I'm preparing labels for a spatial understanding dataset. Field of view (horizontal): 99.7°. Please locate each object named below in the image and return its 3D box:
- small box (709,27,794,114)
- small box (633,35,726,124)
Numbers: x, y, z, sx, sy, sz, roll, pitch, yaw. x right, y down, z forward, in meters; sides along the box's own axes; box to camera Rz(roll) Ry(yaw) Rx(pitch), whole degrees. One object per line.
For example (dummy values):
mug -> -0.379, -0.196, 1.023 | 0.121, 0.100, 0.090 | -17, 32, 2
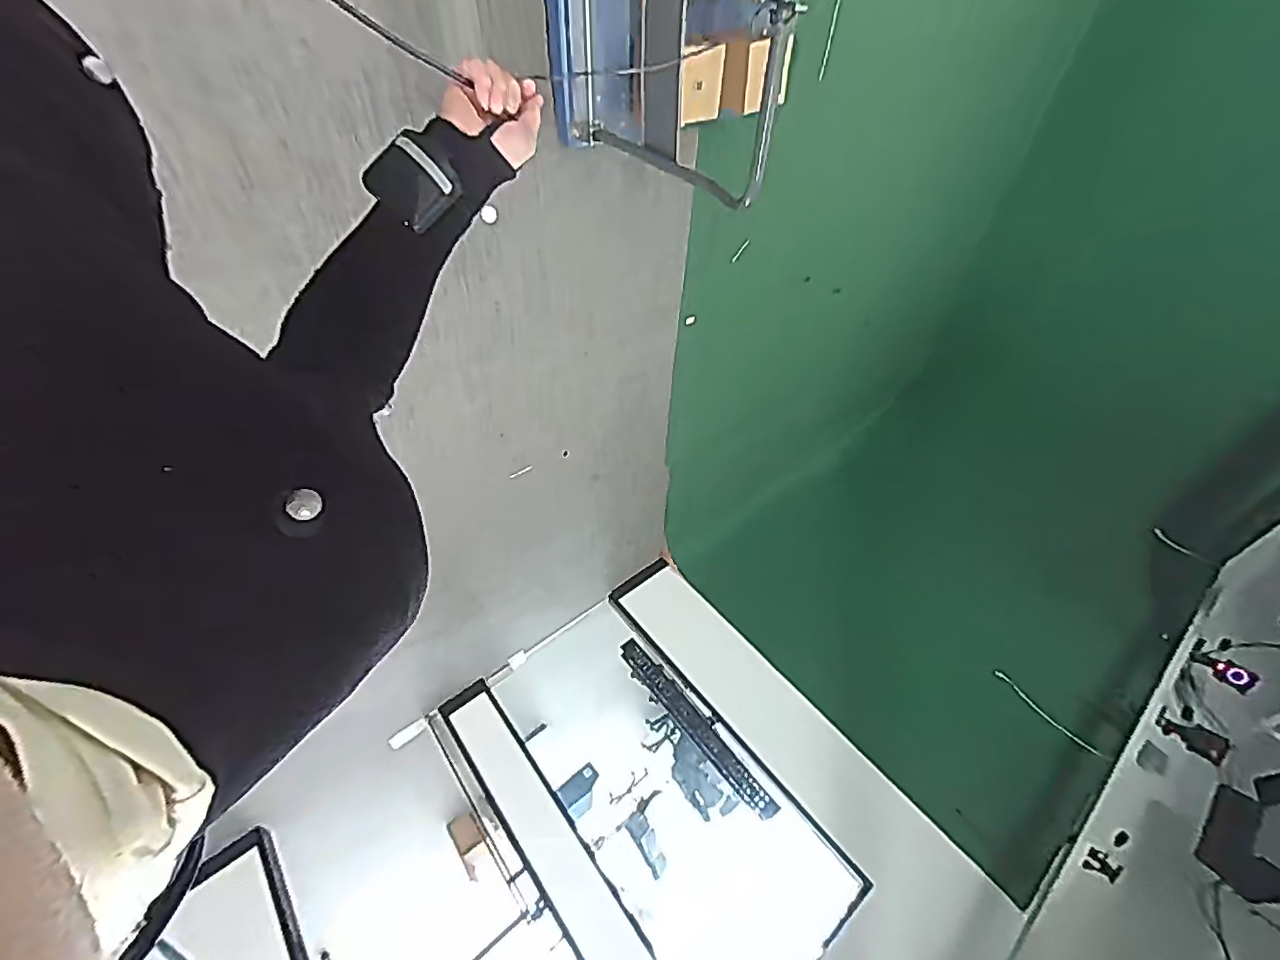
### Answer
small box -> 0.314, -1.197, 1.575 | 0.179, 0.176, 0.168 | -30, 144, -23
small box -> 0.102, -1.081, 1.455 | 0.179, 0.176, 0.168 | -28, 143, -27
